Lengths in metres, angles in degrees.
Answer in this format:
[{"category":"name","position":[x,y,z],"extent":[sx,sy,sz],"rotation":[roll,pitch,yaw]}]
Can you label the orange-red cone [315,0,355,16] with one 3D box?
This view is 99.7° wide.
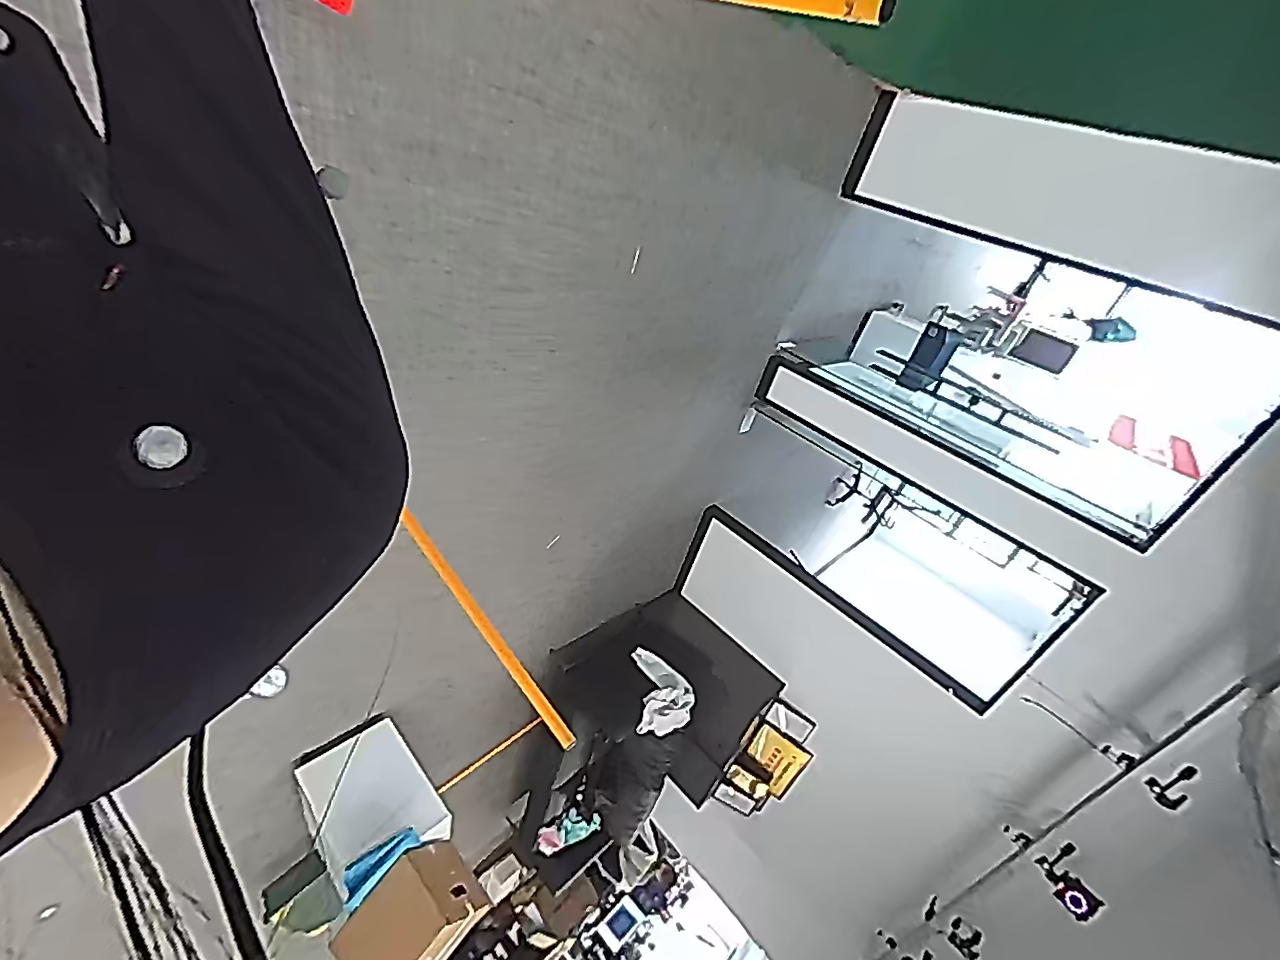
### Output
[{"category":"orange-red cone","position":[-0.511,-0.949,0.940],"extent":[0.198,0.360,0.199],"rotation":[-4,126,-53]}]
